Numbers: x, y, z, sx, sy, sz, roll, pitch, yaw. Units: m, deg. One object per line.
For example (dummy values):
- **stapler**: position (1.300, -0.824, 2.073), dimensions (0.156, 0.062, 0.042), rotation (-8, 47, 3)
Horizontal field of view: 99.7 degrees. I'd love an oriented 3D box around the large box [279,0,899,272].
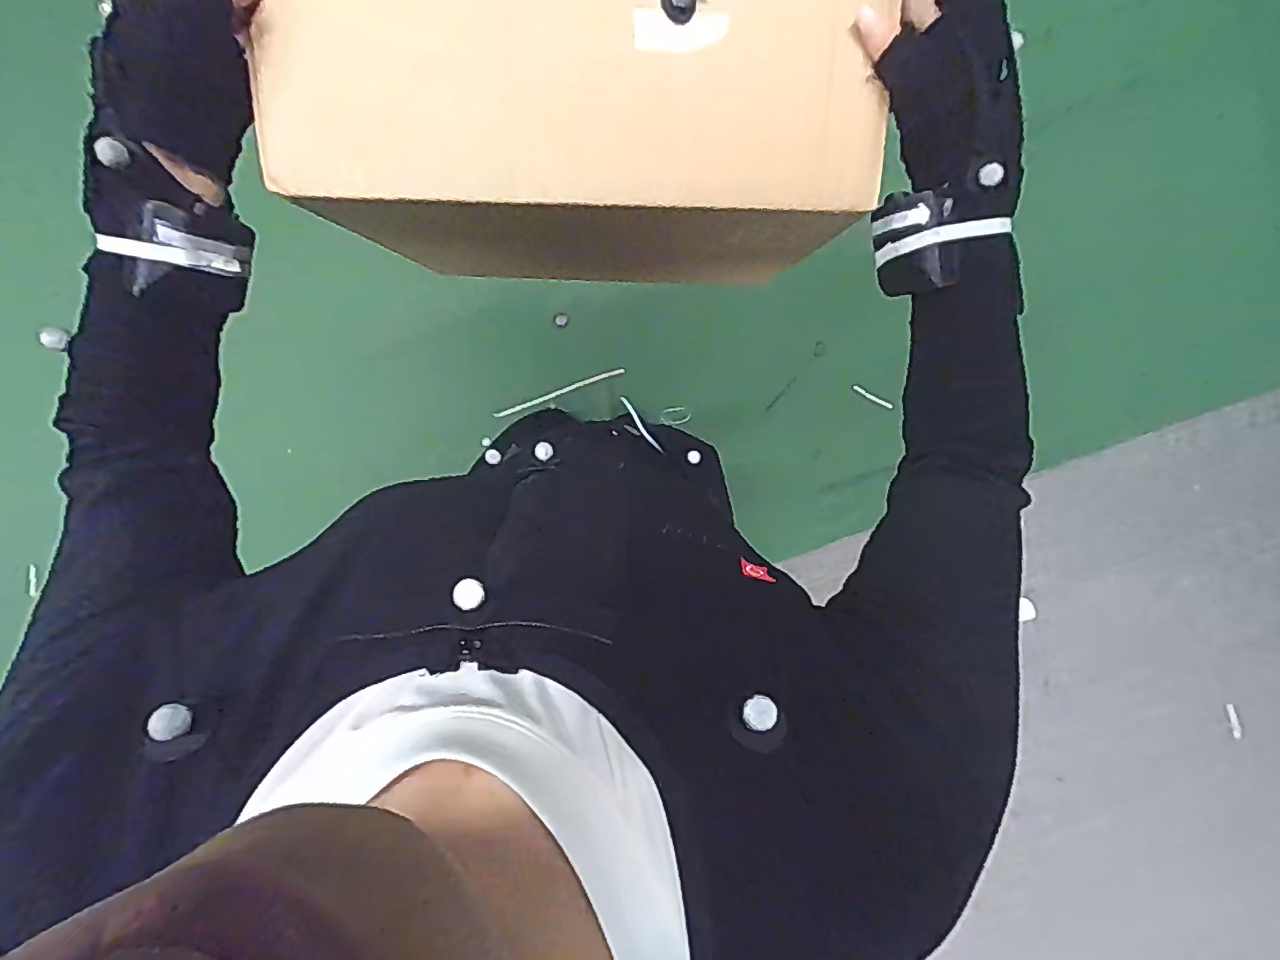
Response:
- **large box**: position (-0.032, -0.376, 0.483), dimensions (0.408, 0.320, 0.320), rotation (2, 102, 0)
